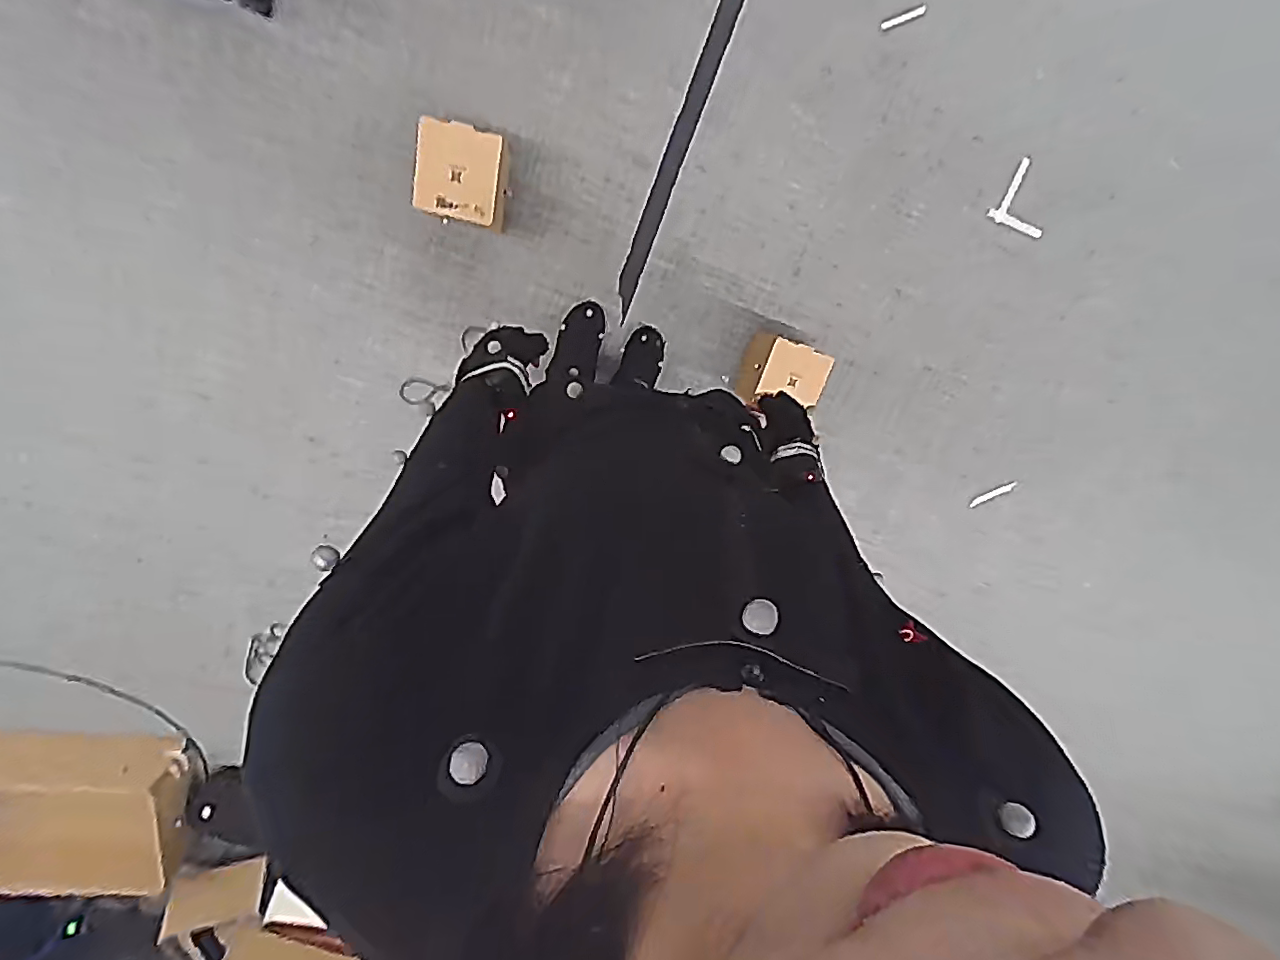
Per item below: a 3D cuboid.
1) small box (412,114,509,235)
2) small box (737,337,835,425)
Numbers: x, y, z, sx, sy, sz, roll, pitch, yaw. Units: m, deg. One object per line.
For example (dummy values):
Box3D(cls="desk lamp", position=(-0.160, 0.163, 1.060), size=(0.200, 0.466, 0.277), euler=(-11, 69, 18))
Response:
Box3D(cls="small box", position=(-0.386, -0.657, 1.187), size=(0.168, 0.176, 0.179), euler=(10, 106, -10))
Box3D(cls="small box", position=(0.372, -0.267, 1.417), size=(0.168, 0.176, 0.179), euler=(16, 106, -11))
